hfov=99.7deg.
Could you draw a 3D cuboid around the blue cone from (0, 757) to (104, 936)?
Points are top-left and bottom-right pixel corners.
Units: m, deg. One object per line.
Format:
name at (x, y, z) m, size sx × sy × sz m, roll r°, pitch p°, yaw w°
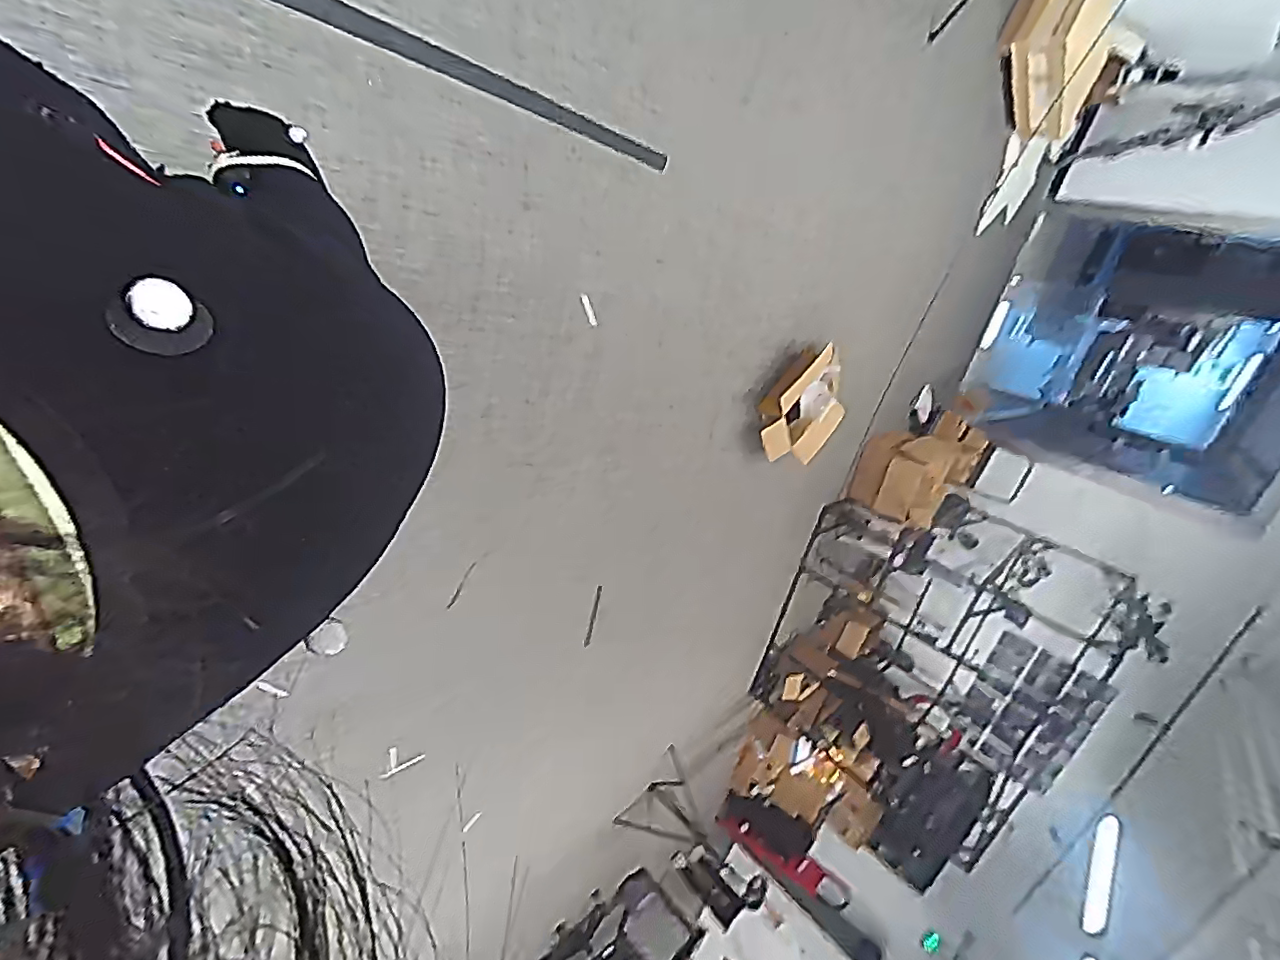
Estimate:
blue cone at (-1.338, 0.853, 1.227) m, size 0.193 × 0.380 × 0.192 m, roll -5°, pitch 119°, yaw -47°
